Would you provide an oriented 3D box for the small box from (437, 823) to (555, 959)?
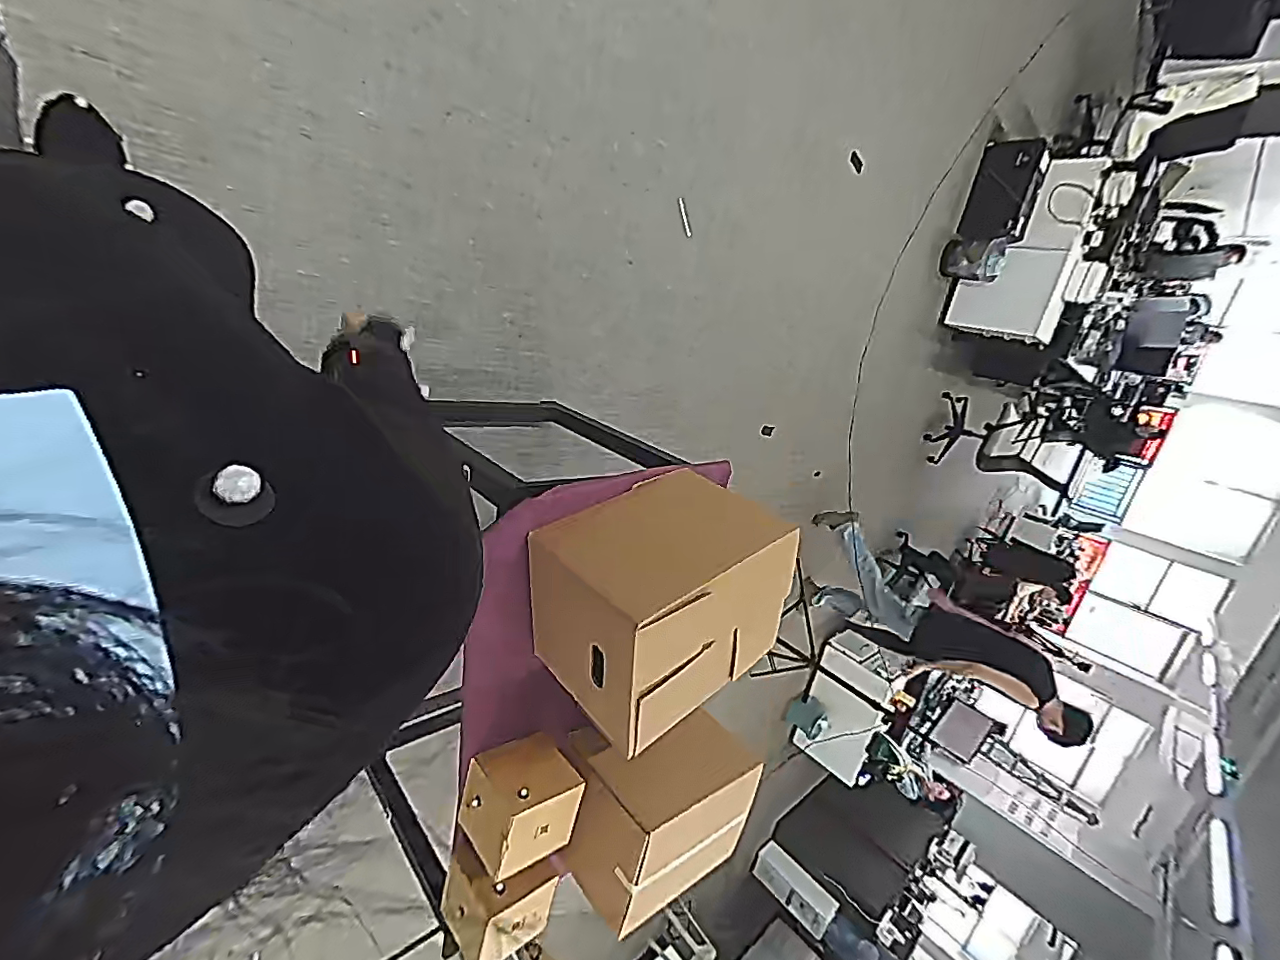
[{"bbox_3d":[-0.318,0.903,1.177,0.179,0.176,0.168,-1,111,-47],"label":"small box"}]
